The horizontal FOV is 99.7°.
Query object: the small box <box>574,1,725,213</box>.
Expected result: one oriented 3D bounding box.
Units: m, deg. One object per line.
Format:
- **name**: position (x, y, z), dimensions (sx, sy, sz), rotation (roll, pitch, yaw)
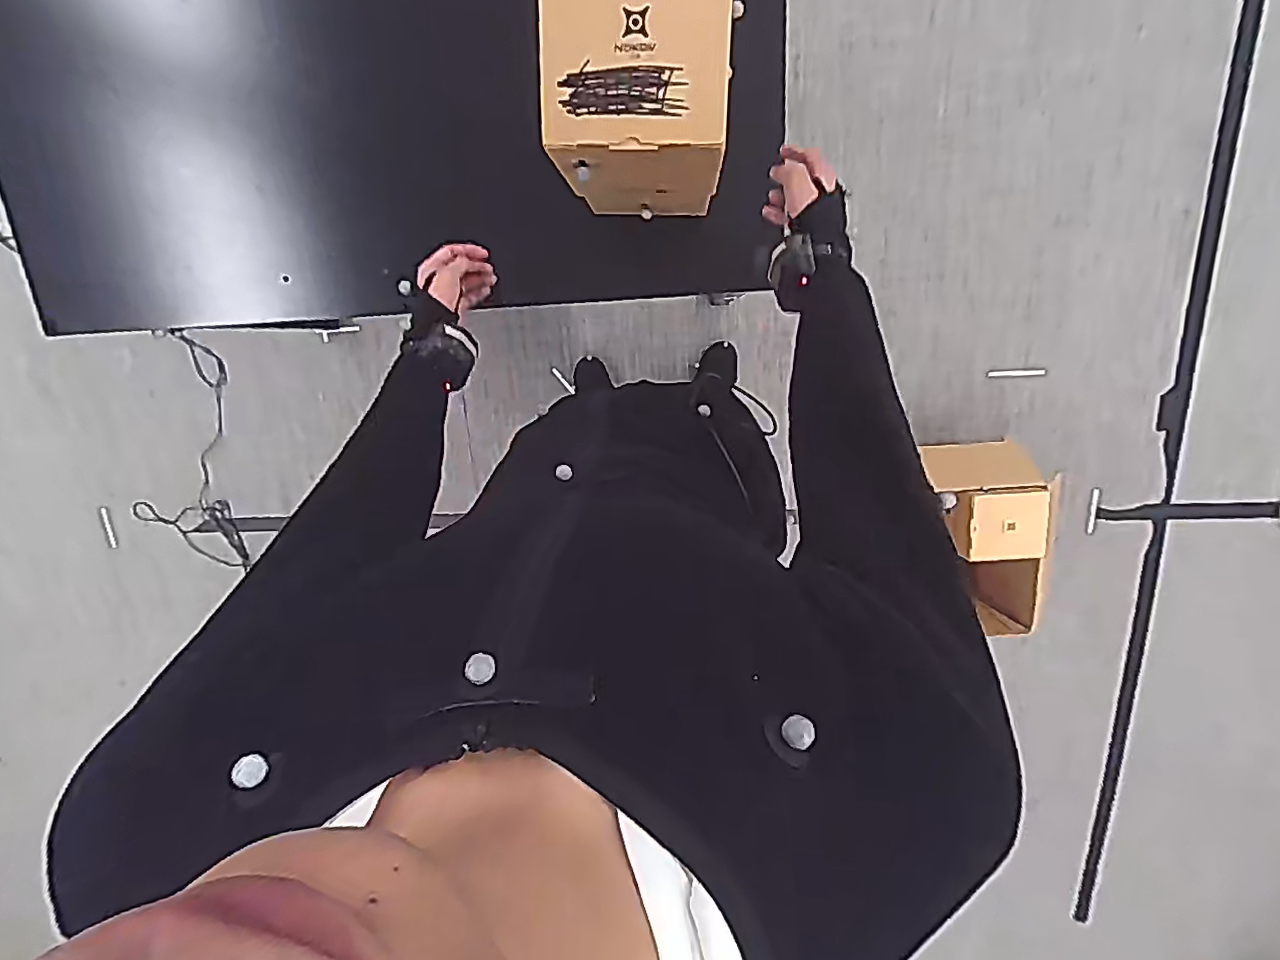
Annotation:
- **small box**: position (0.012, -0.454, 0.684), dimensions (0.168, 0.176, 0.179), rotation (3, 105, 4)
